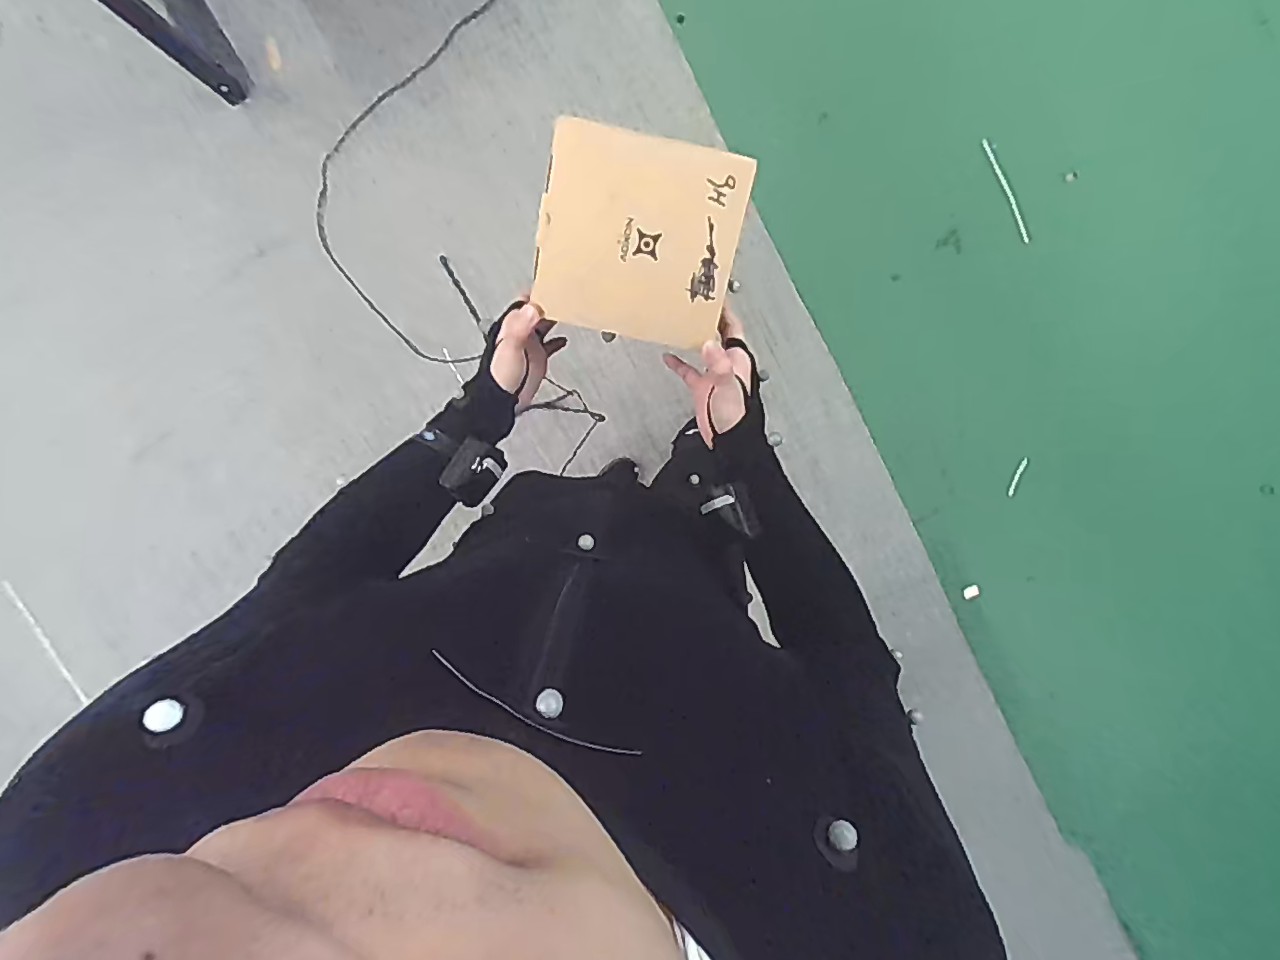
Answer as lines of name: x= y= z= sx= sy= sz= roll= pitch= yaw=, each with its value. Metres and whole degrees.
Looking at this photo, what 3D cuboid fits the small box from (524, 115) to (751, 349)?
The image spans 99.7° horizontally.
small box: x=-0.003 y=-0.237 z=0.553 sx=0.179 sy=0.176 sz=0.168 roll=12 pitch=108 yaw=-1
